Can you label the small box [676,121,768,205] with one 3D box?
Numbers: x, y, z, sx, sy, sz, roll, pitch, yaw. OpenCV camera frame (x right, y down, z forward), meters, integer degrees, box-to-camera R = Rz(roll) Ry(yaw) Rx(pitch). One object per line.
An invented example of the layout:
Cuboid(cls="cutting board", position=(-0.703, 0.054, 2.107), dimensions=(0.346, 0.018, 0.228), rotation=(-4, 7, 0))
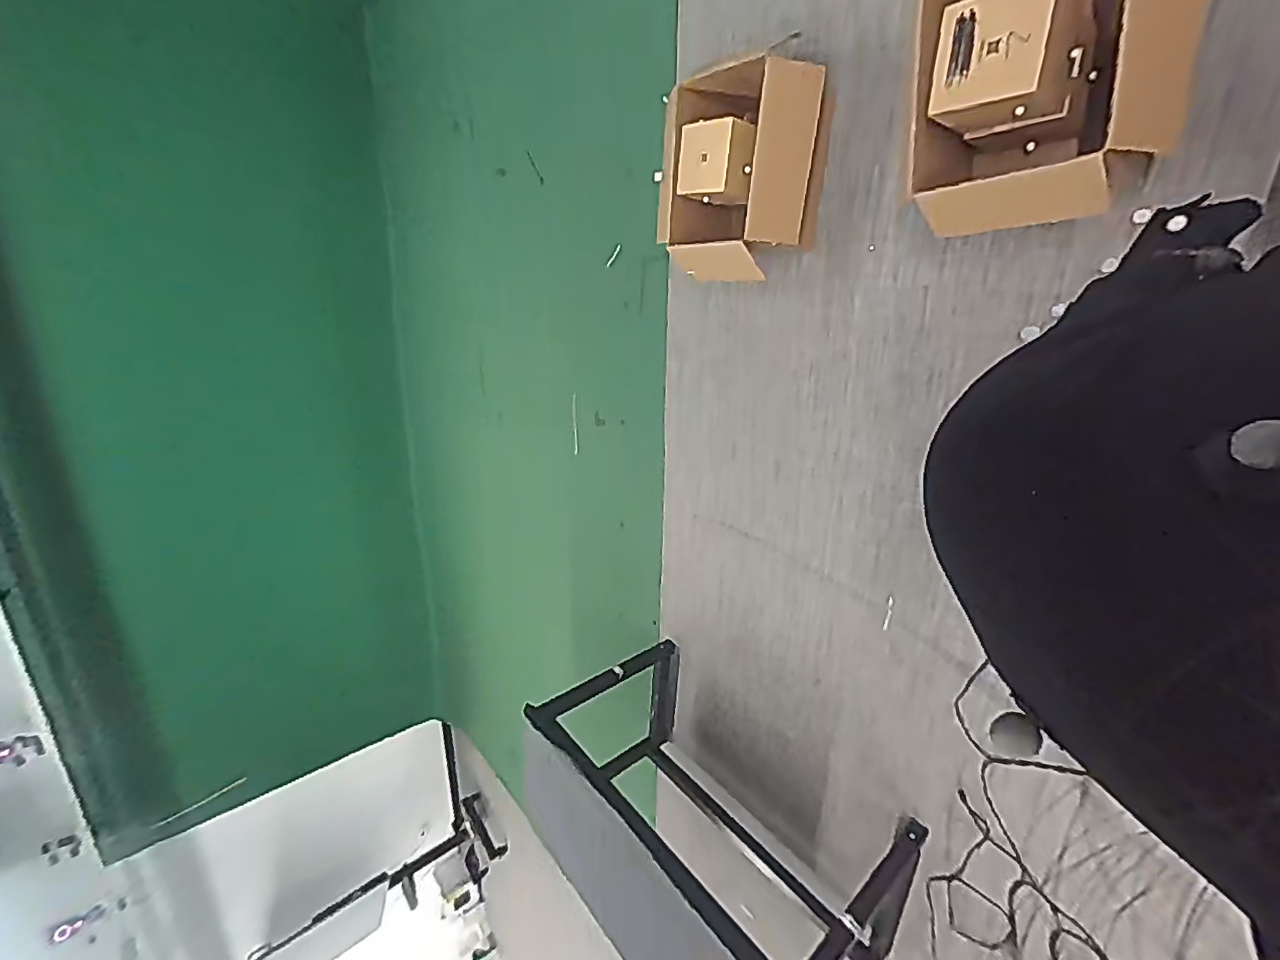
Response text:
Cuboid(cls="small box", position=(0.223, -0.848, 1.462), dimensions=(0.179, 0.176, 0.168), rotation=(24, 118, 43))
